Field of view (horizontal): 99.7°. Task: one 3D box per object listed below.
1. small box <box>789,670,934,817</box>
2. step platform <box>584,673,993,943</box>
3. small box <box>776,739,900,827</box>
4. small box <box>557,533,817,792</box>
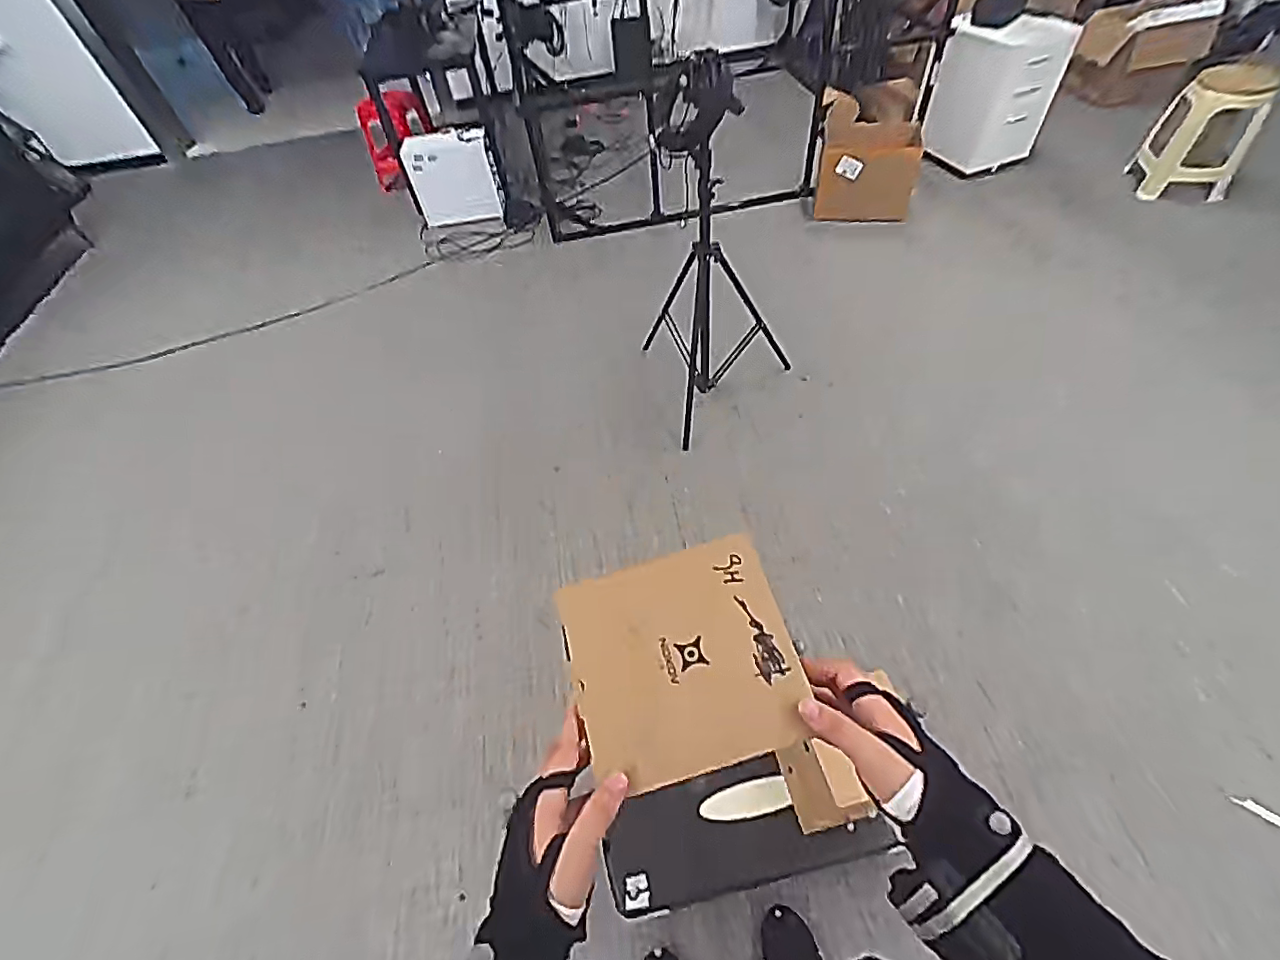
[{"bbox_3d":[0.363,0.460,0.939,0.168,0.176,0.179,-14,53,-3],"label":"small box"},{"bbox_3d":[0.248,0.600,1.009,0.684,0.204,0.286,-12,51,-3],"label":"step platform"},{"bbox_3d":[0.372,0.564,1.066,0.168,0.176,0.179,-14,52,-3],"label":"small box"},{"bbox_3d":[0.039,0.174,0.503,0.179,0.176,0.168,-16,63,-2],"label":"small box"}]
